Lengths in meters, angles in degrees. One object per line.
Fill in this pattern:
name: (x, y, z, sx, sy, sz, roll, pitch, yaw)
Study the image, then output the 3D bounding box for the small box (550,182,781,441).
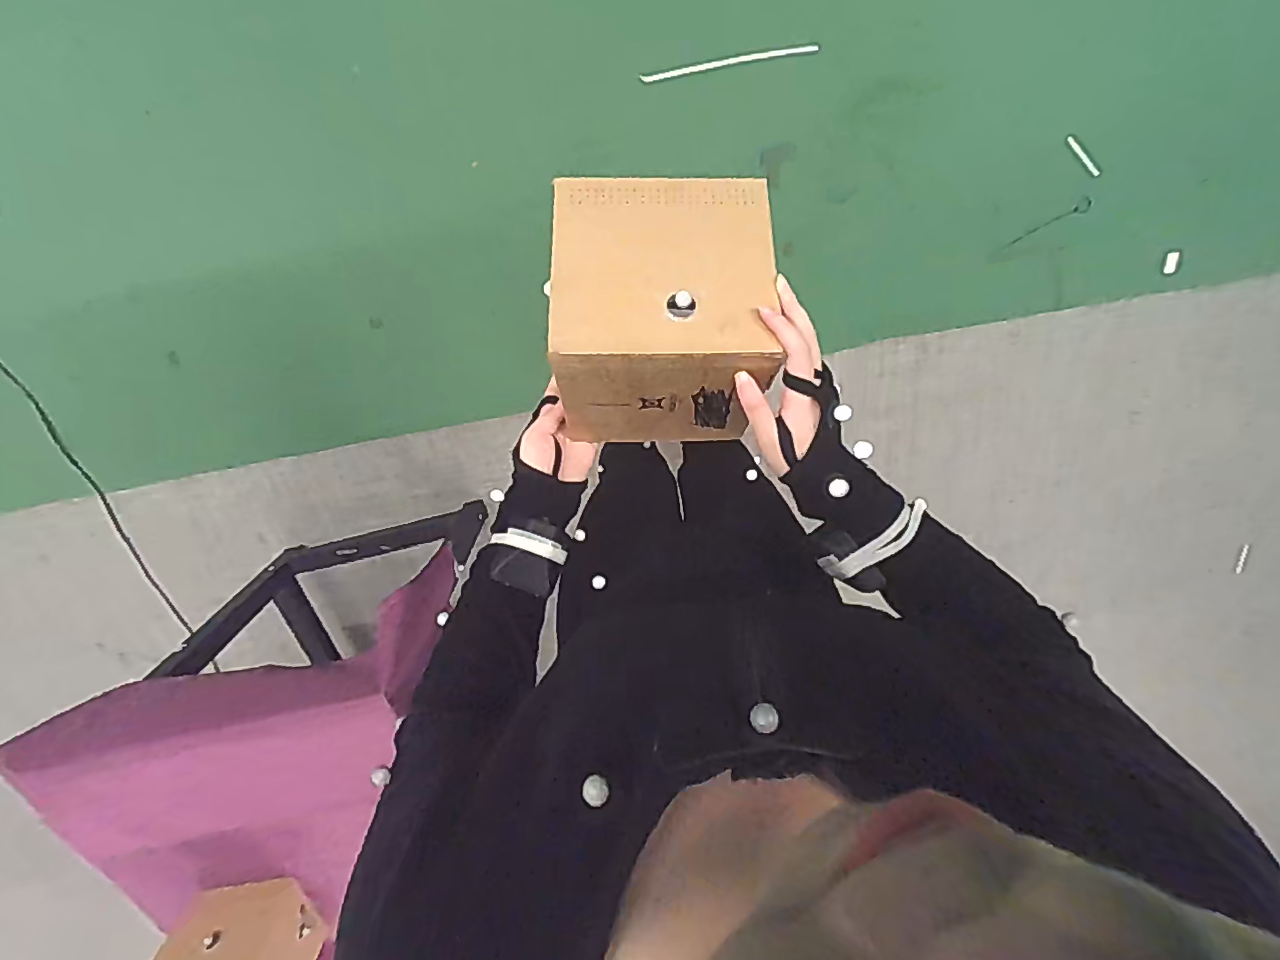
small box: (0.015, -0.145, 0.497, 0.179, 0.168, 0.176, 0, 71, -1)
